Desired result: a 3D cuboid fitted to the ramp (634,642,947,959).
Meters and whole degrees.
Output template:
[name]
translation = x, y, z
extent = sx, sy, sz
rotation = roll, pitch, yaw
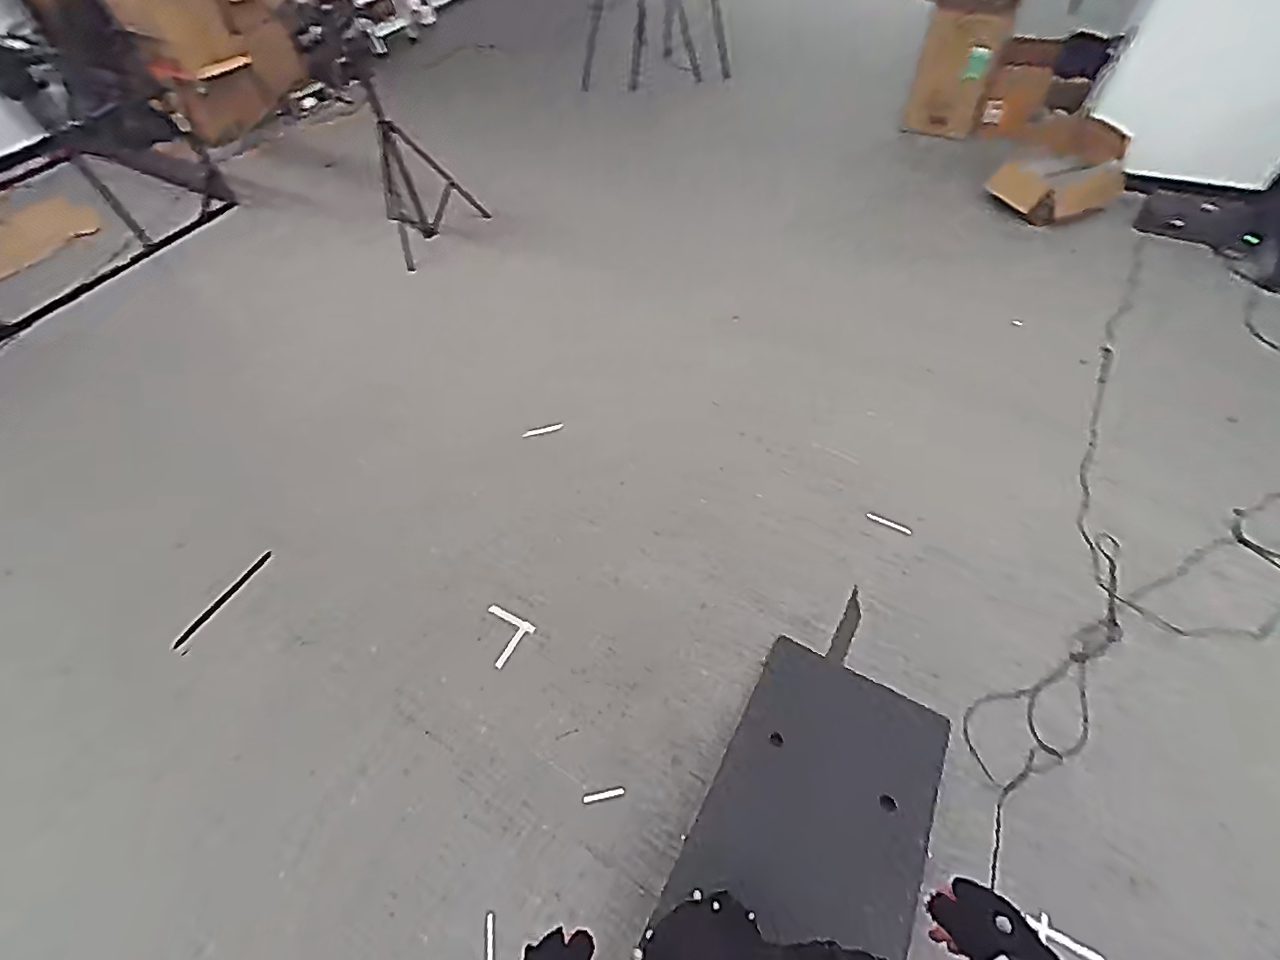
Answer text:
[ramp]
translation = 0.366, 0.869, 1.235
extent = 0.509, 0.206, 0.991
rotation = 21, 59, 21
